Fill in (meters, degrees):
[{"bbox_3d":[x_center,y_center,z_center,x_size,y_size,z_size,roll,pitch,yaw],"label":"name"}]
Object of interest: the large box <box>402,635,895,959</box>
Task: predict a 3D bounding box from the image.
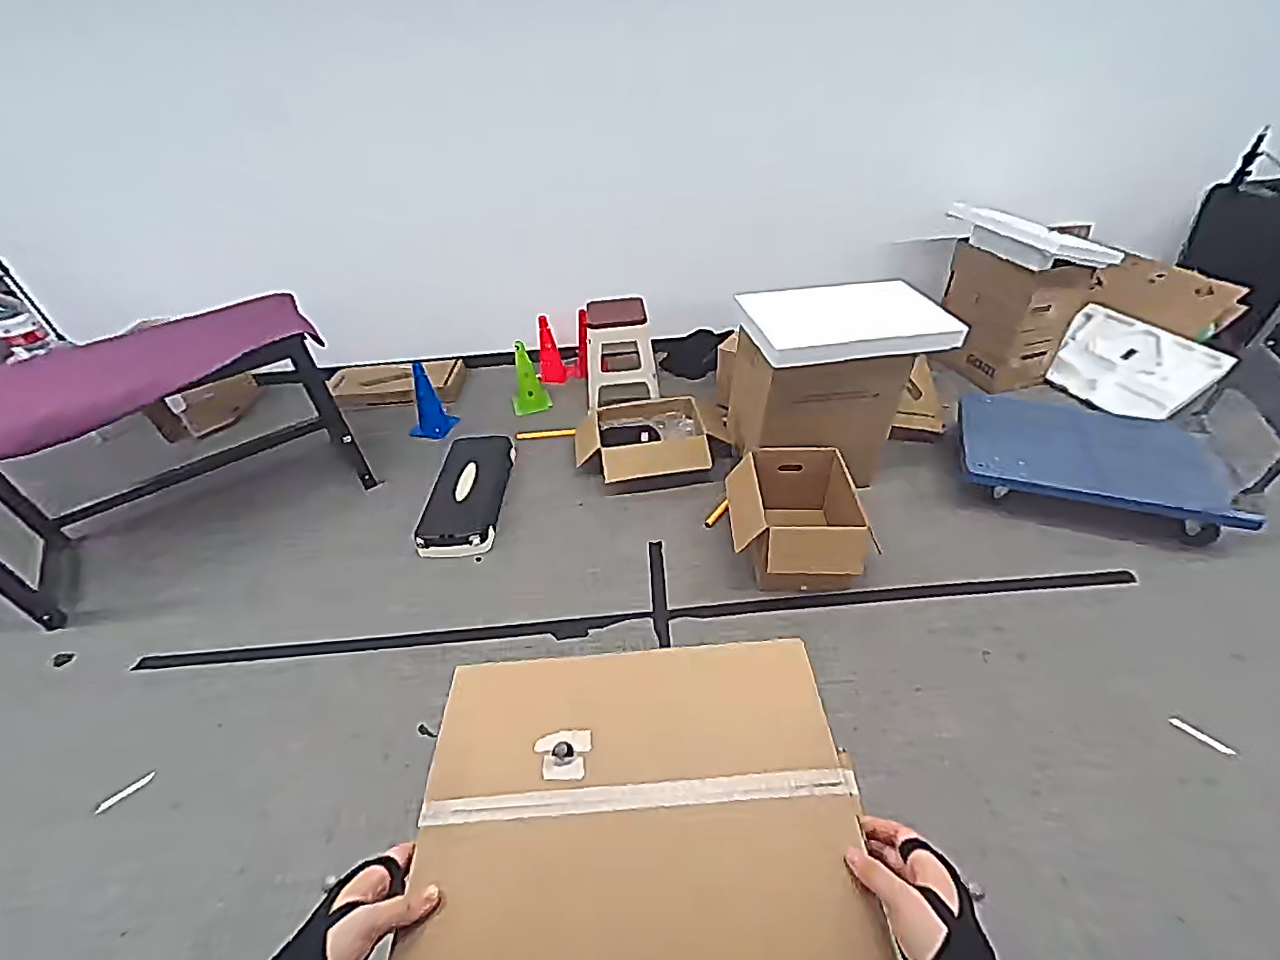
[{"bbox_3d":[0.012,0.415,0.619,0.408,0.320,0.320,-7,40,3],"label":"large box"}]
